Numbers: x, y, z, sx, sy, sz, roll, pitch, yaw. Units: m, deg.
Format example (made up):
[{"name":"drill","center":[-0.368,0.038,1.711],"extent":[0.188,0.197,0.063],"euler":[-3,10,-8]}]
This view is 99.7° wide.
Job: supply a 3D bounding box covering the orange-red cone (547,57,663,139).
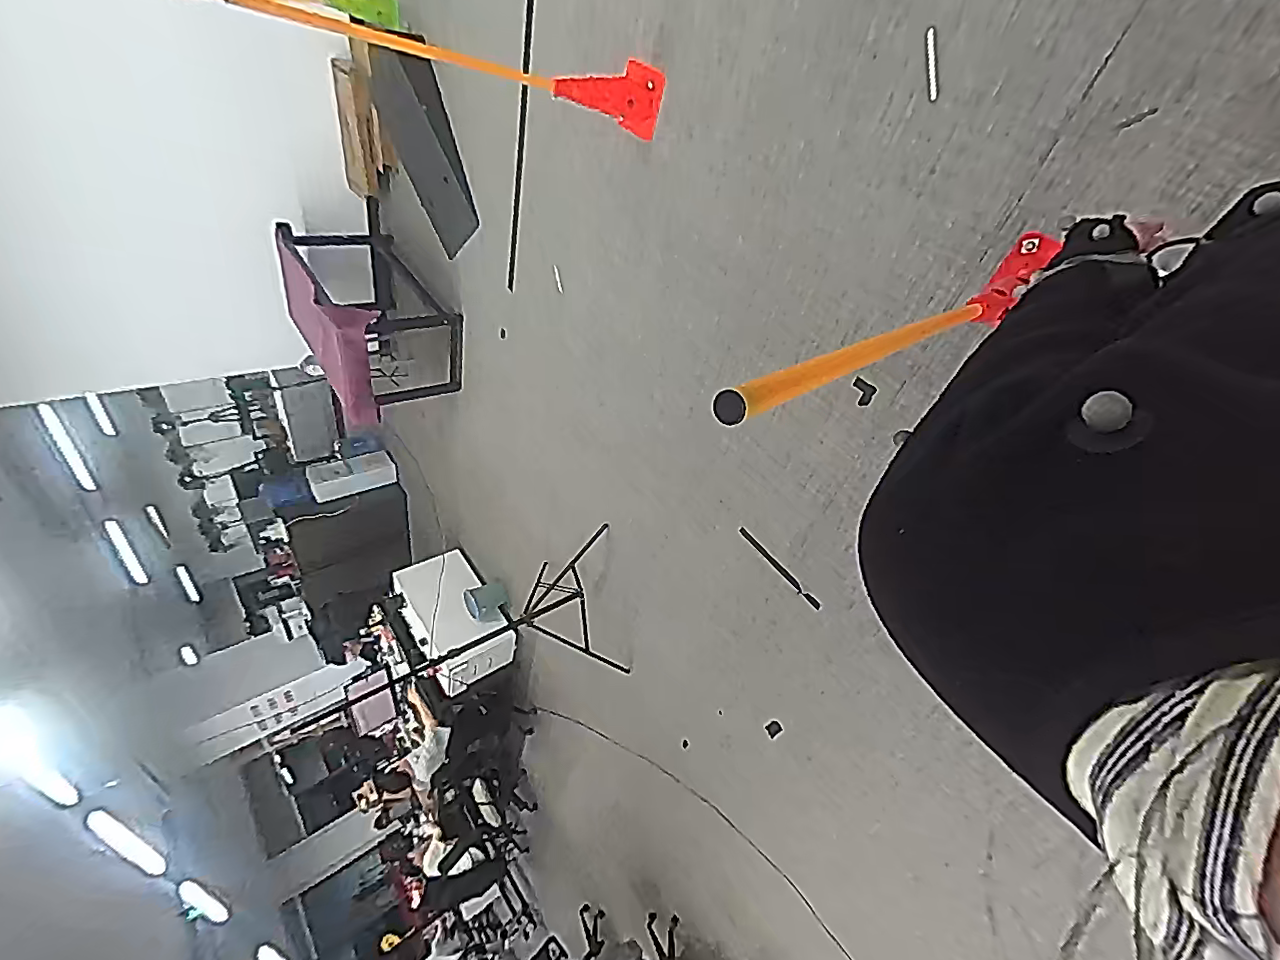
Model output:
[{"name":"orange-red cone","center":[-0.138,-1.245,1.729],"extent":[0.199,0.360,0.198],"euler":[49,139,27]}]
